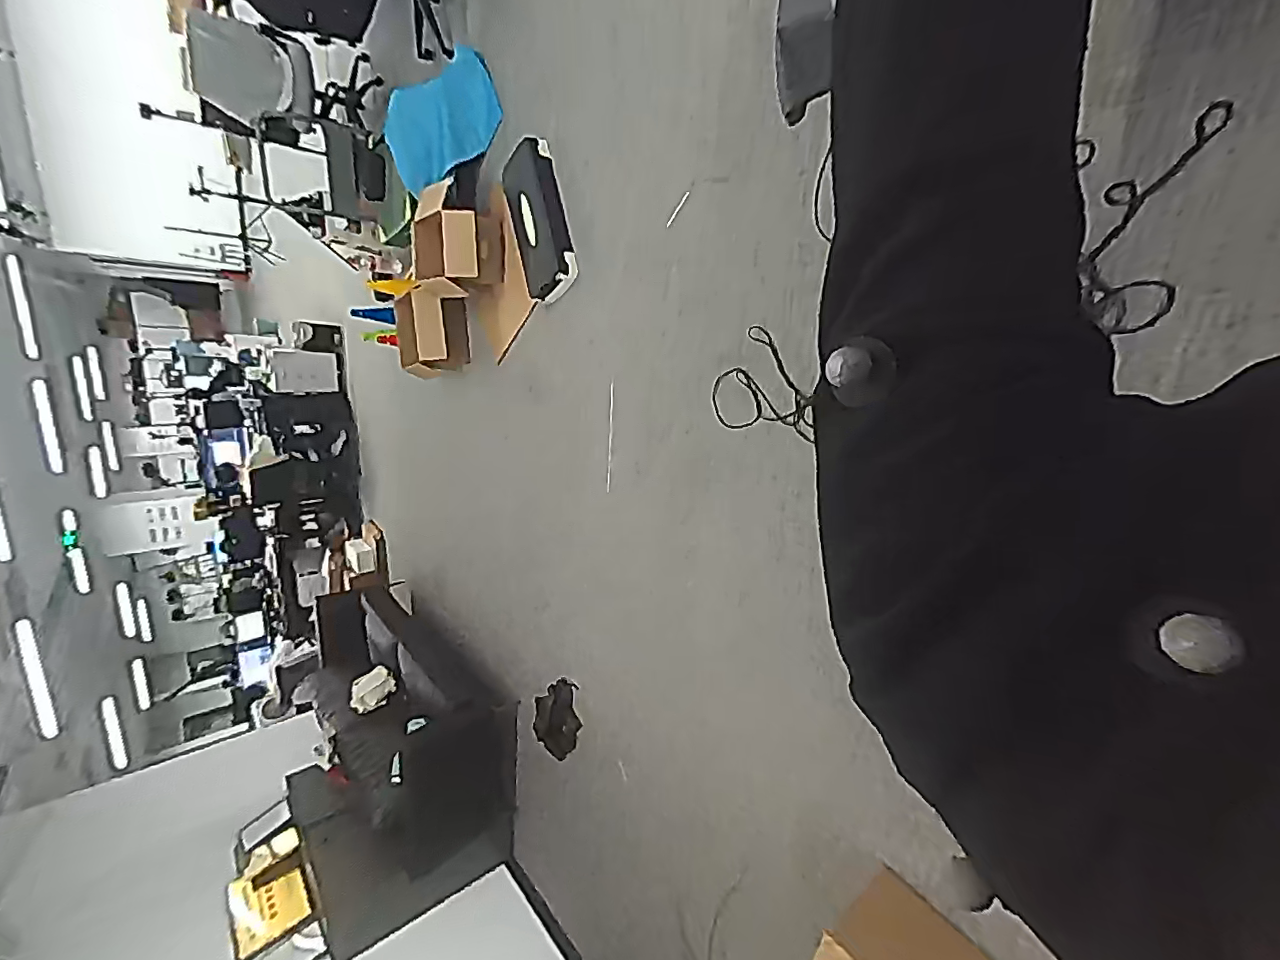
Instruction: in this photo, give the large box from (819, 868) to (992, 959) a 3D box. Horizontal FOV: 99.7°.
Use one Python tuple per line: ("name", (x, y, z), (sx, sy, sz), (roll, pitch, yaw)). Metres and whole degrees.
("large box", (0.702, 1.334, 1.375), (0.408, 0.320, 0.320), (29, 118, 45))
